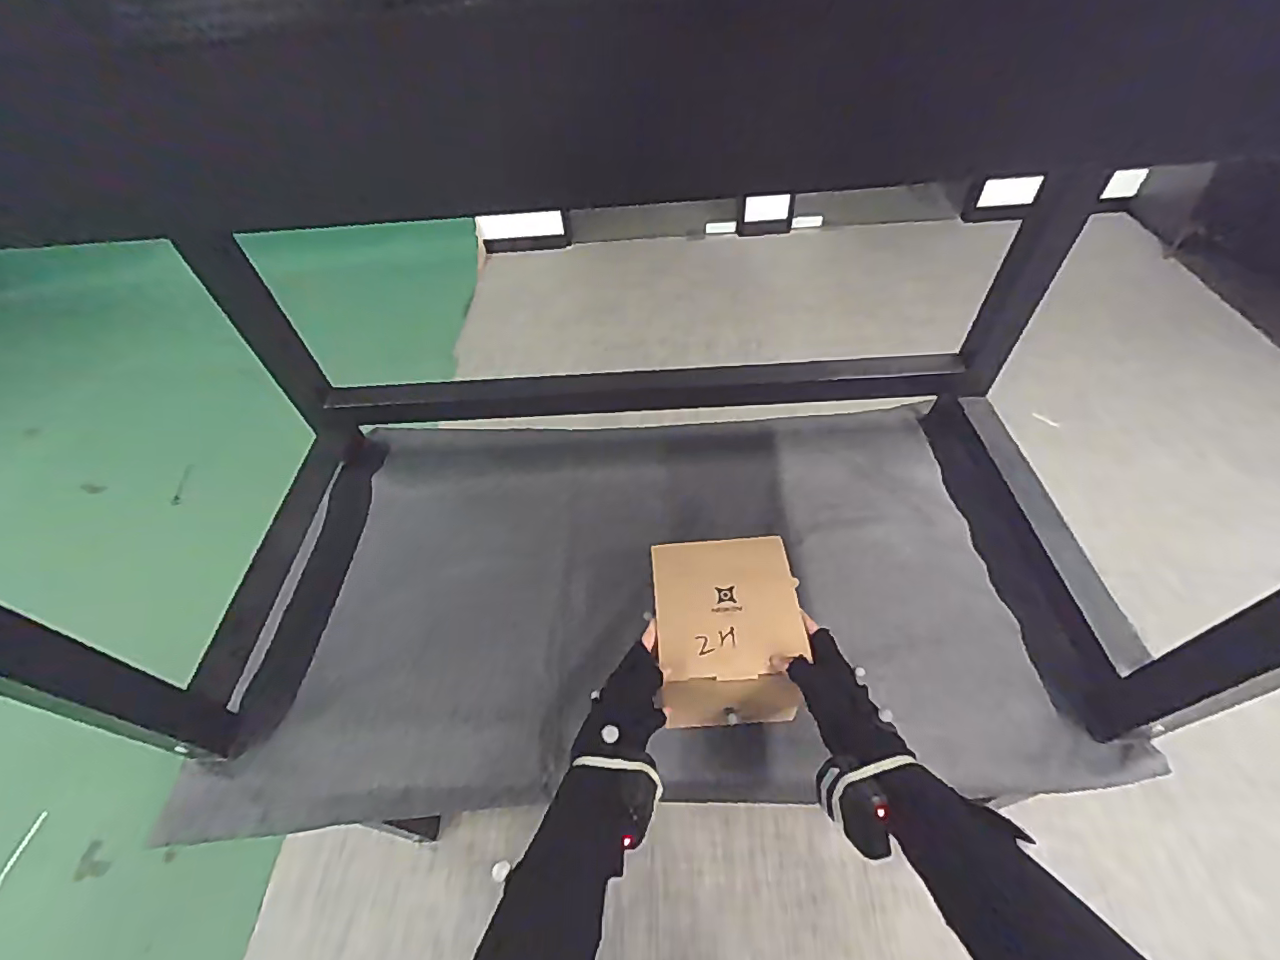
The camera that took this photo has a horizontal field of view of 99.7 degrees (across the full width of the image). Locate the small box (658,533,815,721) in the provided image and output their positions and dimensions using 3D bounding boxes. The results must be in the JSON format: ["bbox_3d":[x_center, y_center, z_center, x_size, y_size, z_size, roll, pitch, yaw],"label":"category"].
[{"bbox_3d":[0.110,0.190,0.694,0.168,0.176,0.179,-4,49,2],"label":"small box"}]
